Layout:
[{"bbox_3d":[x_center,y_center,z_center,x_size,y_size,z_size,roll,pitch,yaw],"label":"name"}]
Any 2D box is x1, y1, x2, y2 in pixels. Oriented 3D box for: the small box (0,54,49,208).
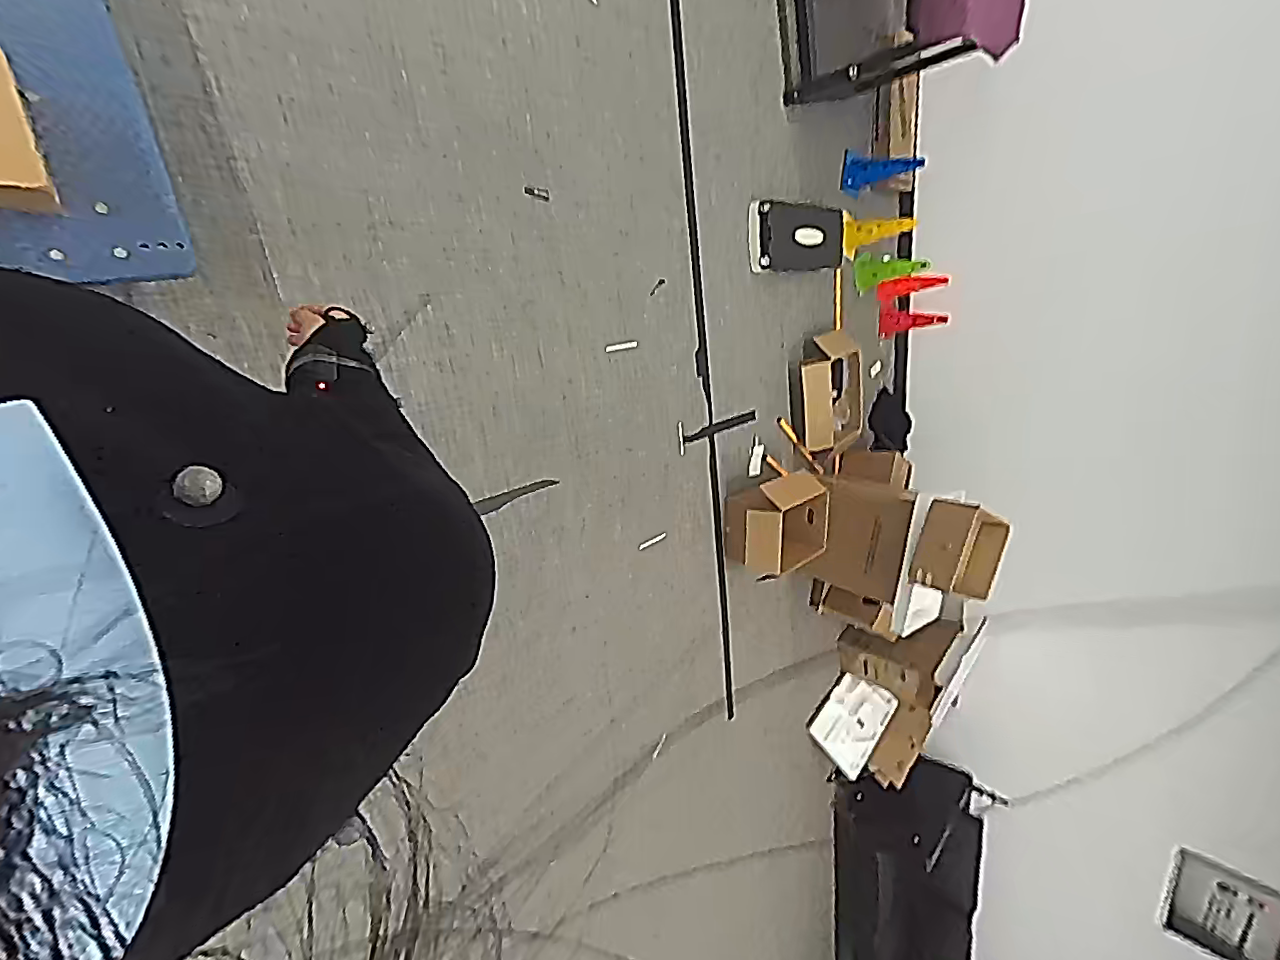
[{"bbox_3d":[-0.948,-0.486,0.730,0.168,0.176,0.179,-19,112,-40],"label":"small box"}]
